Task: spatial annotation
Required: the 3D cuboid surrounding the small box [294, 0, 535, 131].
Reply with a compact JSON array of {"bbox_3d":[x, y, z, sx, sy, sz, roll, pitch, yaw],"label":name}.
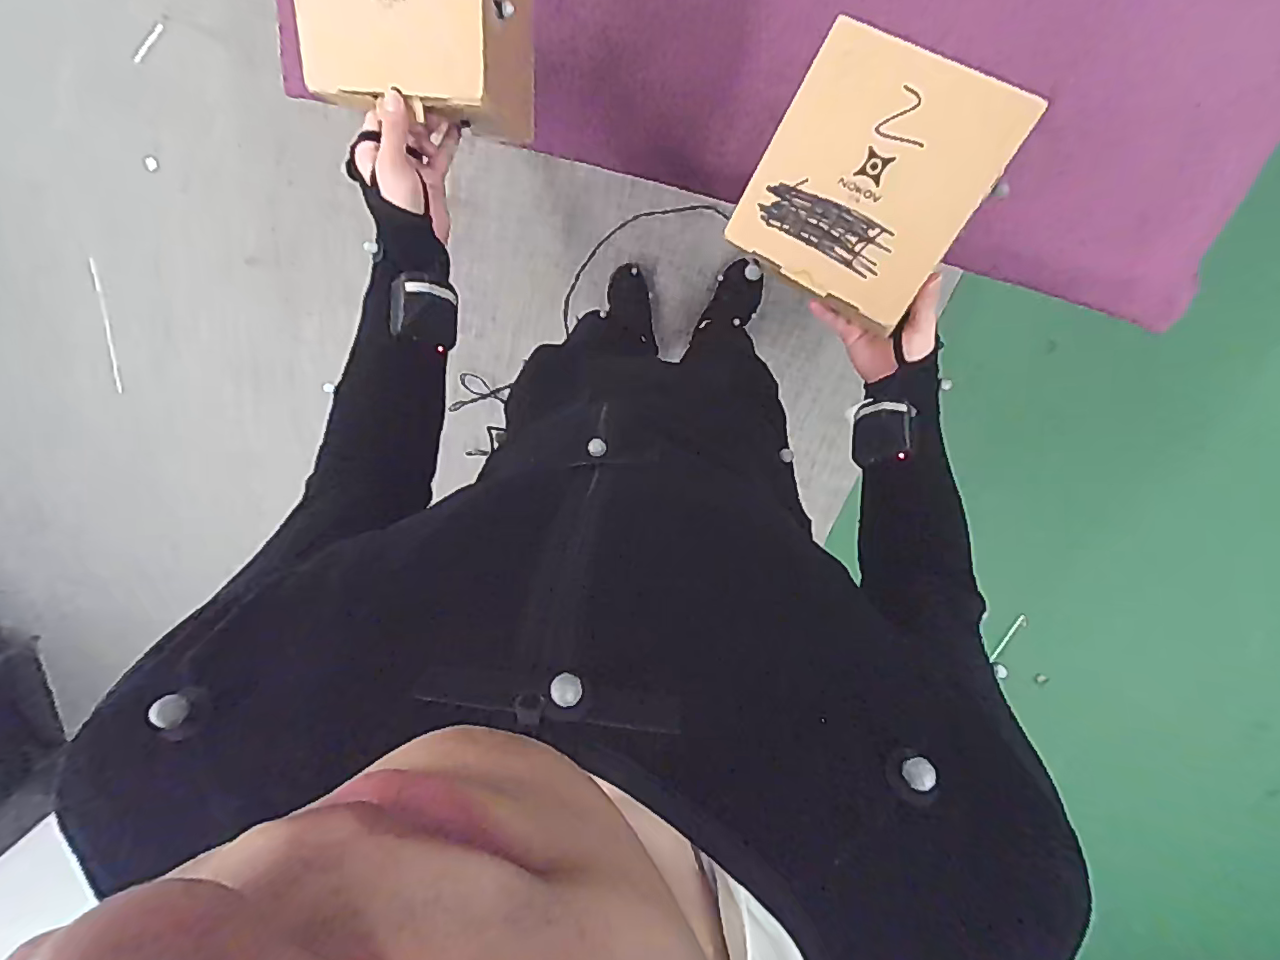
[{"bbox_3d":[-0.203,-0.457,0.520,0.168,0.176,0.179,7,112,3],"label":"small box"}]
